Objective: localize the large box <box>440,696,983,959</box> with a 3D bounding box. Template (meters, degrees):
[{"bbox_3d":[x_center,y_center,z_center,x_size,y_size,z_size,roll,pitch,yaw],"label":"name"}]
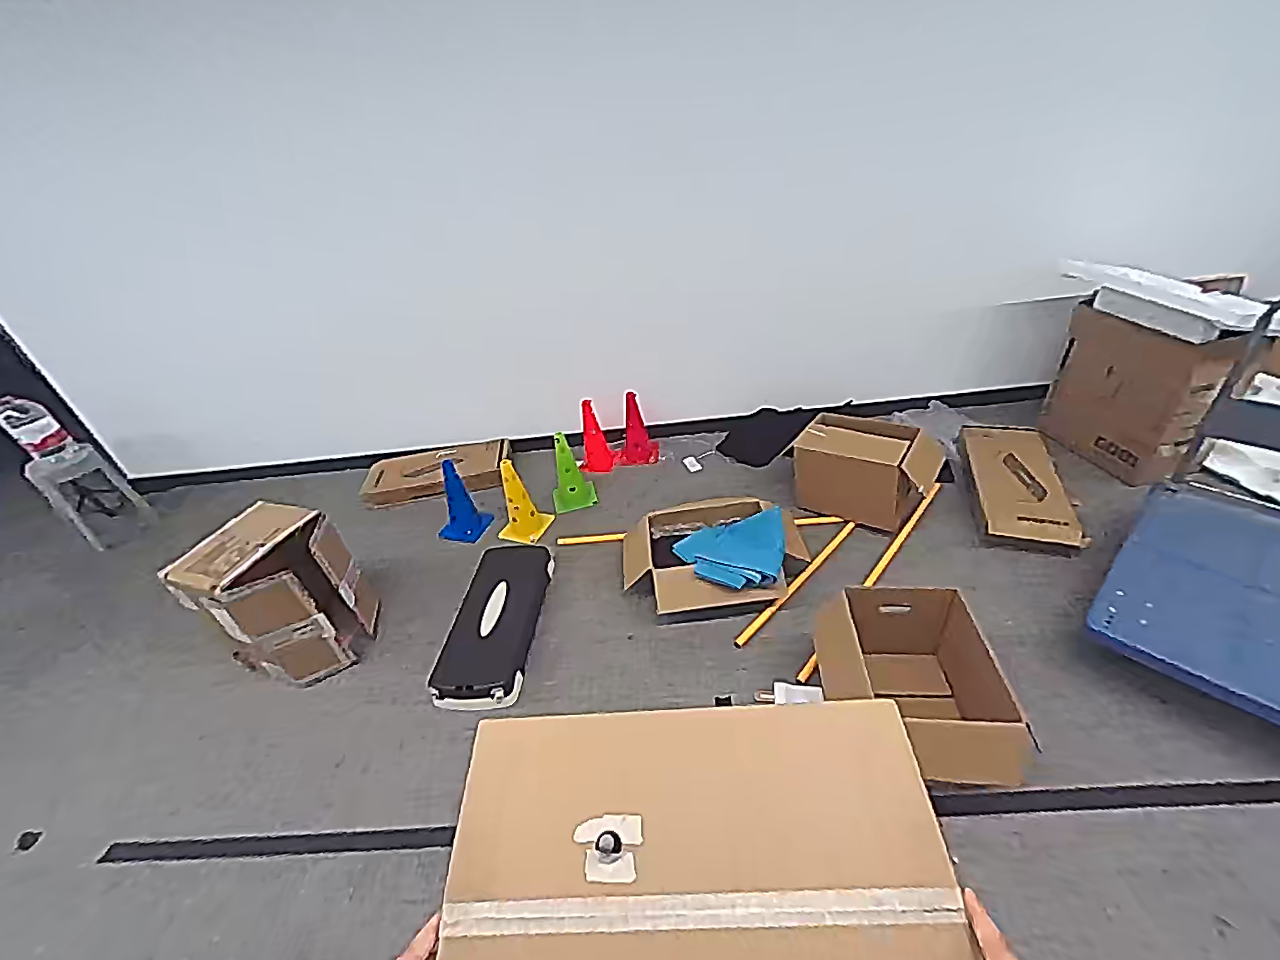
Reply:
[{"bbox_3d":[0.064,0.436,0.518,0.408,0.320,0.320,-7,45,5],"label":"large box"}]
